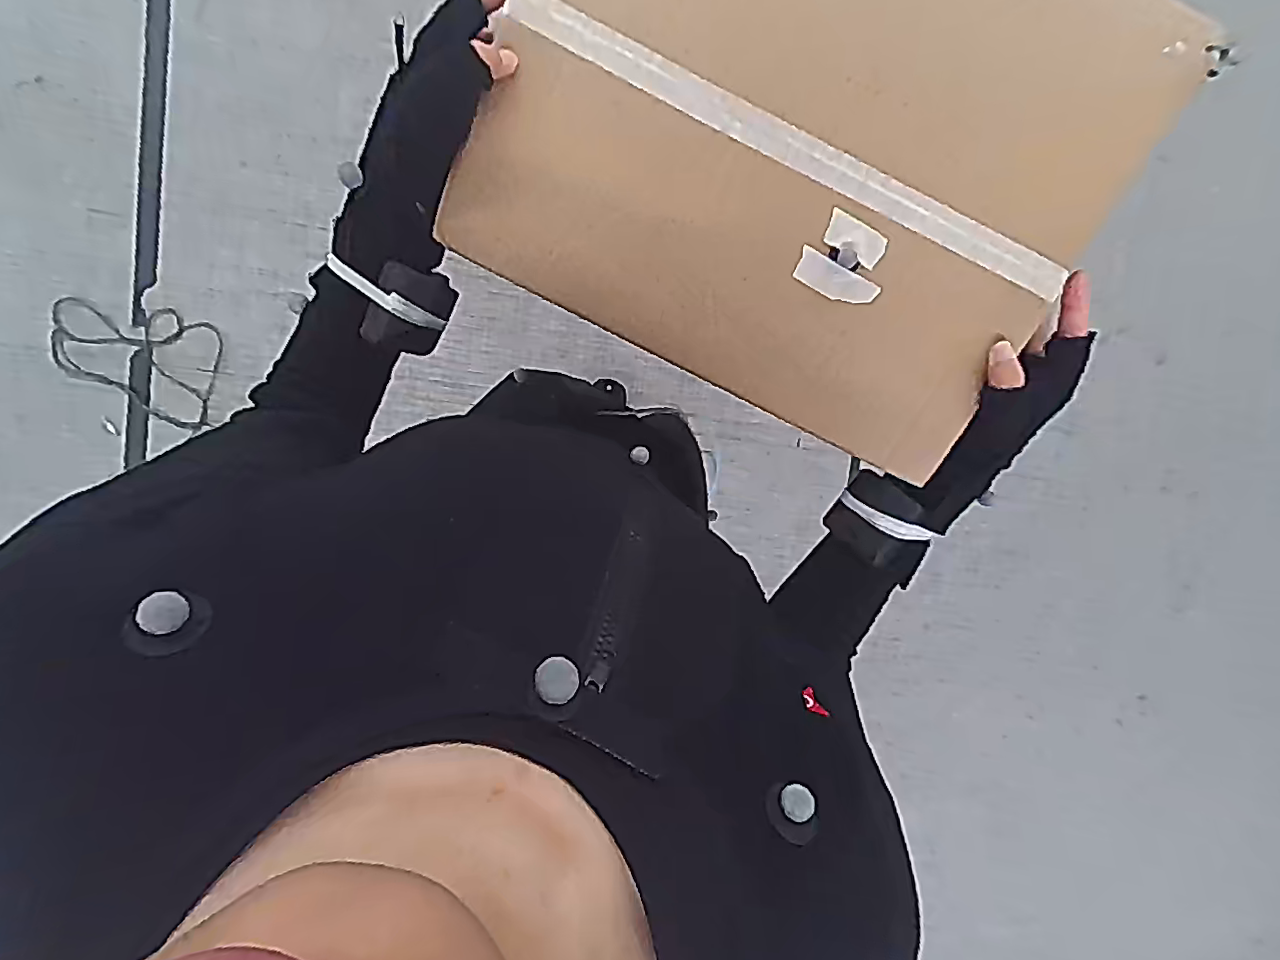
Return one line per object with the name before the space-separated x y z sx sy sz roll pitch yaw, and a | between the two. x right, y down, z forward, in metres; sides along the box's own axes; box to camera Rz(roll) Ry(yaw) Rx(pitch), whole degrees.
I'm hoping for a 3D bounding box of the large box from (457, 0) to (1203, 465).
large box | 0.115 -0.267 0.506 0.408 0.320 0.320 27 108 -4
